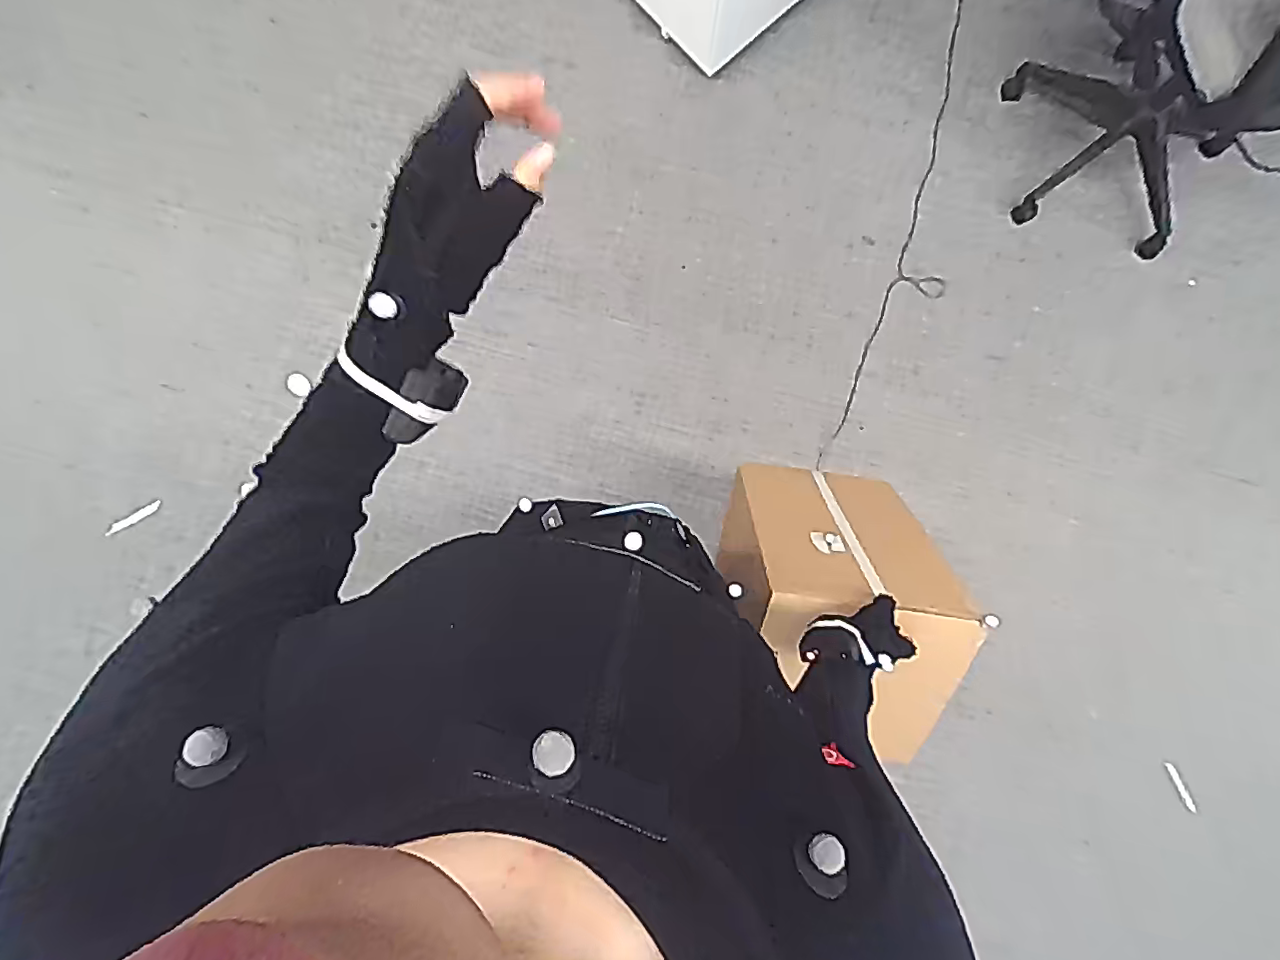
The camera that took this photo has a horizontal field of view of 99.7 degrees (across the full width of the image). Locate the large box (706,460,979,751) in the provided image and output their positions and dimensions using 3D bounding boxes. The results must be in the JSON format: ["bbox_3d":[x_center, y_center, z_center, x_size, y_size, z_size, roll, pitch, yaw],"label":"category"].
[{"bbox_3d":[0.313,0.208,0.996,0.320,0.408,0.320,8,120,-1],"label":"large box"}]
